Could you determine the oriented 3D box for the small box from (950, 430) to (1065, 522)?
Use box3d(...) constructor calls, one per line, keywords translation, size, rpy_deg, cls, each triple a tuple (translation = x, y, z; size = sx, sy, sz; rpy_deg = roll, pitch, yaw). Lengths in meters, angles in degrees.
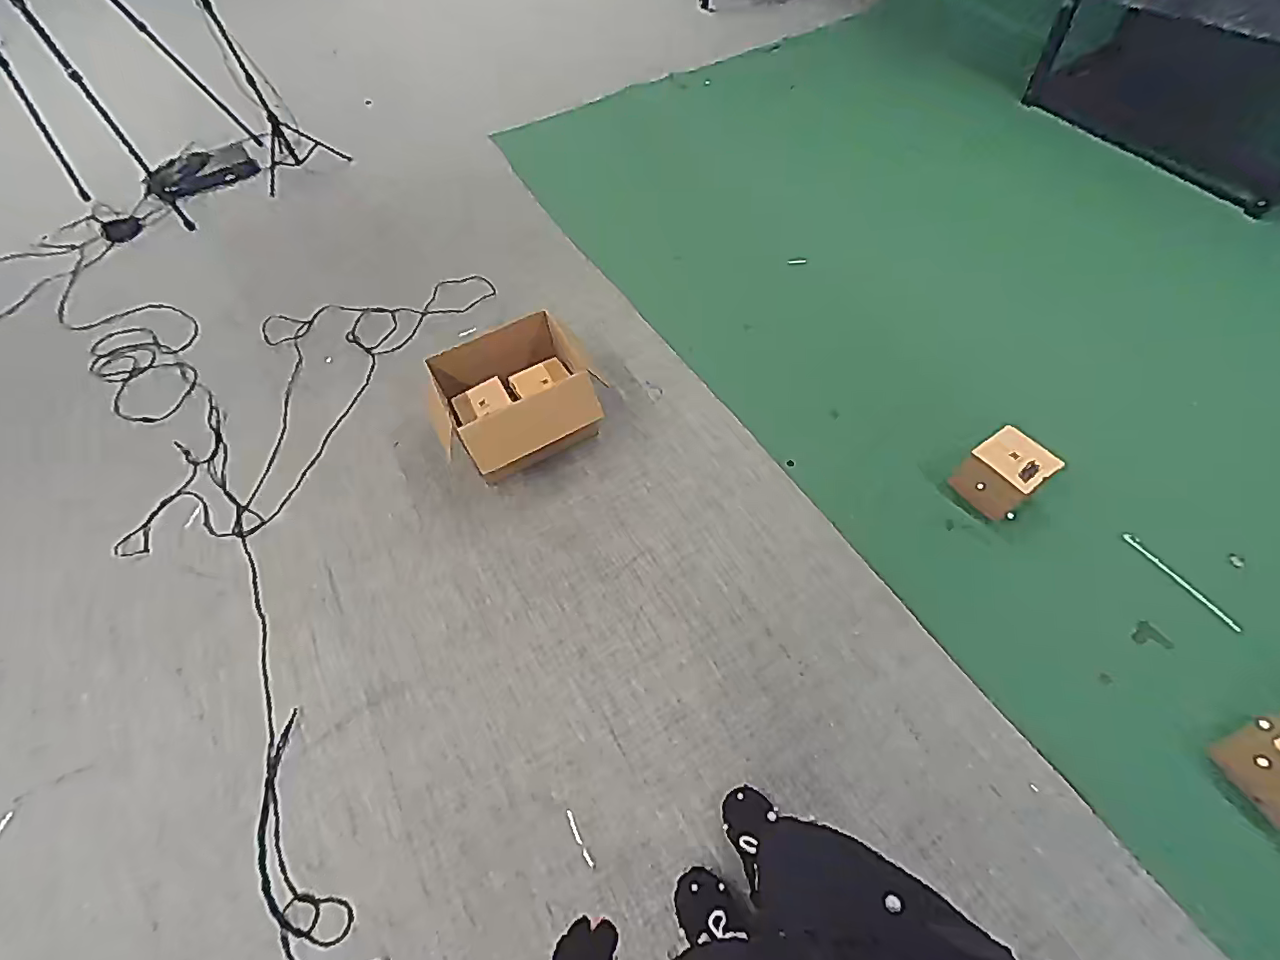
box3d(translation=(1.037, -0.001, 1.542), size=(0.168, 0.176, 0.179), rpy_deg=(-30, 59, -15), cls="small box")
